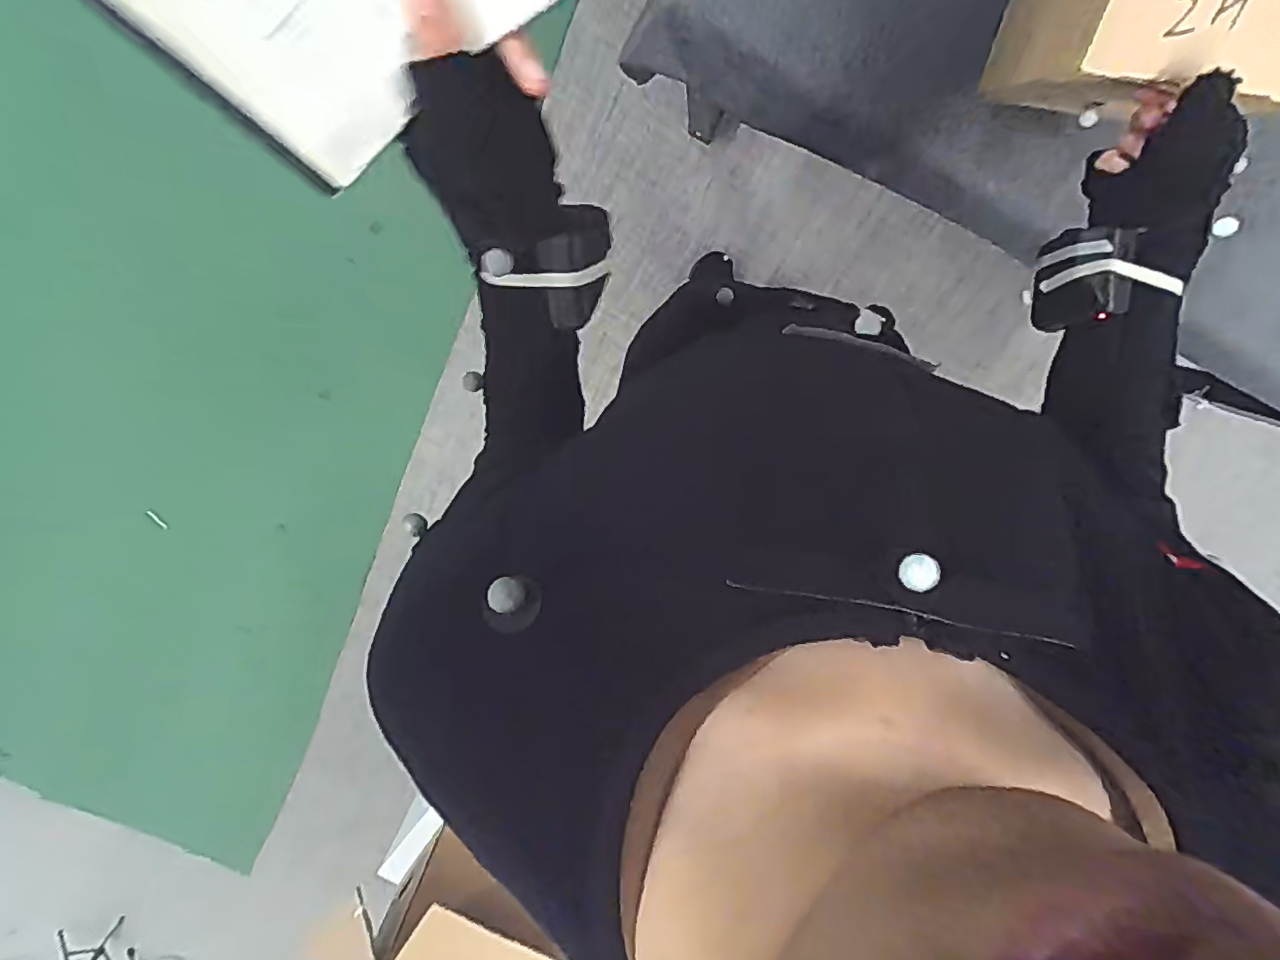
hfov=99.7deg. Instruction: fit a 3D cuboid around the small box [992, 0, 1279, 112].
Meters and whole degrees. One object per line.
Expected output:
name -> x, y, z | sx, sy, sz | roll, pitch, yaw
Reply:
small box -> 0.402, -0.391, 0.394 | 0.168, 0.176, 0.179 | 9, 120, 2
